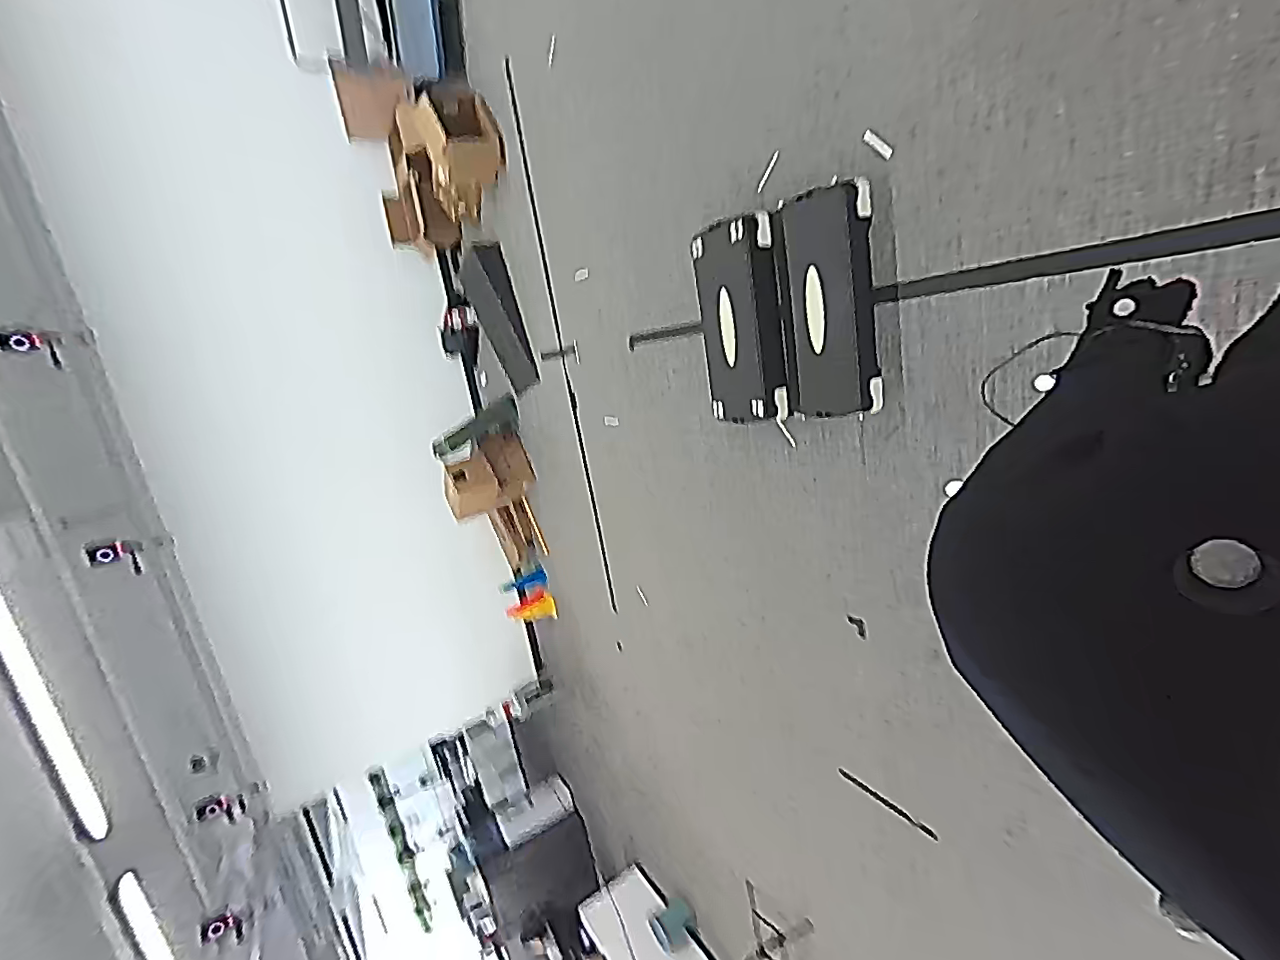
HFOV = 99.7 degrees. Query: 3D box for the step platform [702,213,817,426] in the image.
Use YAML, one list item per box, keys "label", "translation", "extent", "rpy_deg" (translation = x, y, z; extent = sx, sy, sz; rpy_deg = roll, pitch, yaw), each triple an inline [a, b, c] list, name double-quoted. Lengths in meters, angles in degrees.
- label: "step platform"
  translation: [0.404, -0.528, 1.849]
  extent: [0.286, 0.204, 0.684]
  rpy_deg: [9, 112, 57]
